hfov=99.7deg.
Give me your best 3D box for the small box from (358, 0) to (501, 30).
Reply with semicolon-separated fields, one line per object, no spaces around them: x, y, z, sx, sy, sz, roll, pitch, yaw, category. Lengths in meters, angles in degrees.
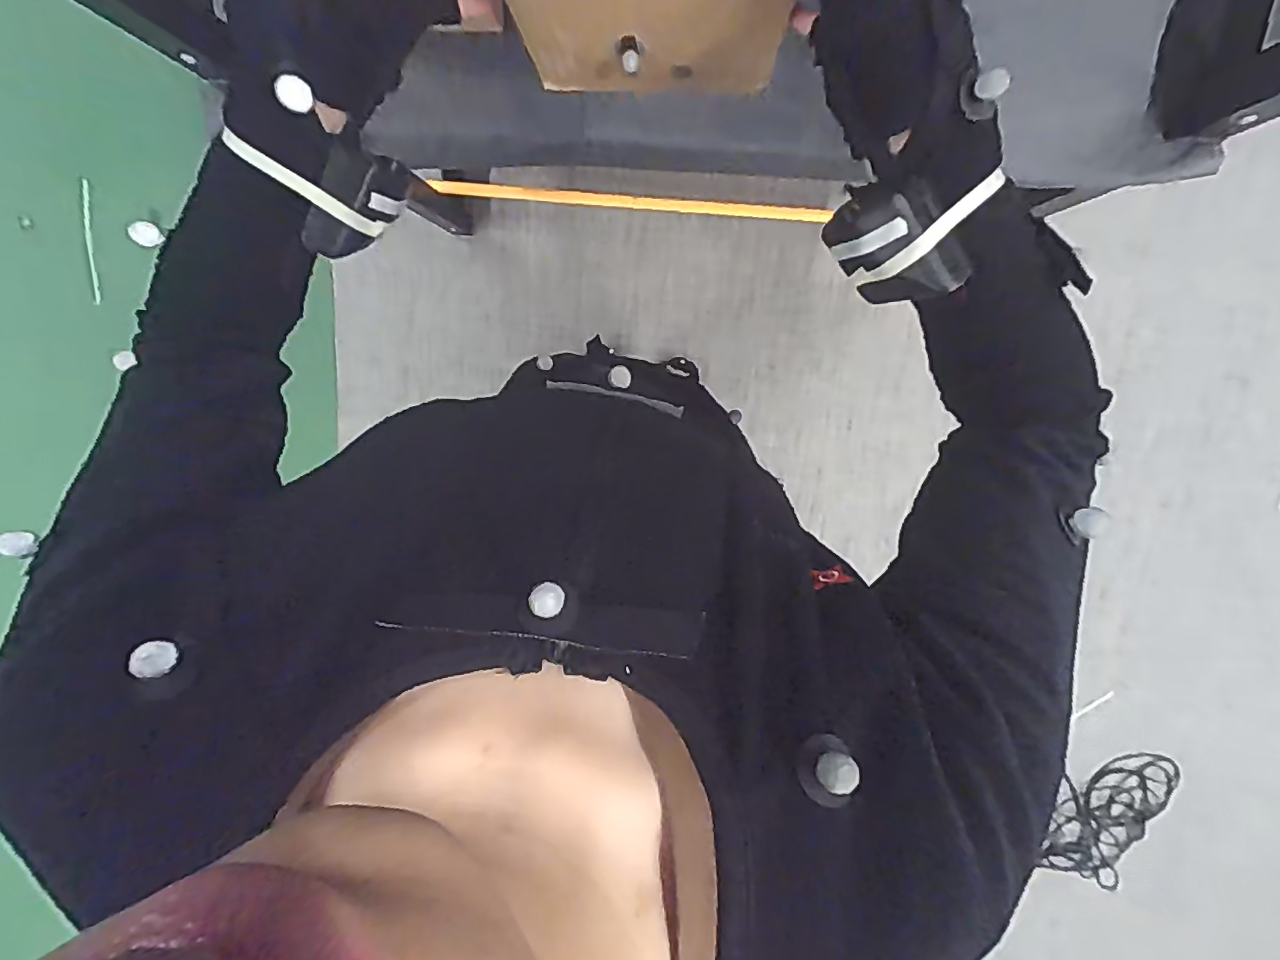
-0.243;-0.602;0.538;0.168;0.176;0.179;3;102;3;small box
